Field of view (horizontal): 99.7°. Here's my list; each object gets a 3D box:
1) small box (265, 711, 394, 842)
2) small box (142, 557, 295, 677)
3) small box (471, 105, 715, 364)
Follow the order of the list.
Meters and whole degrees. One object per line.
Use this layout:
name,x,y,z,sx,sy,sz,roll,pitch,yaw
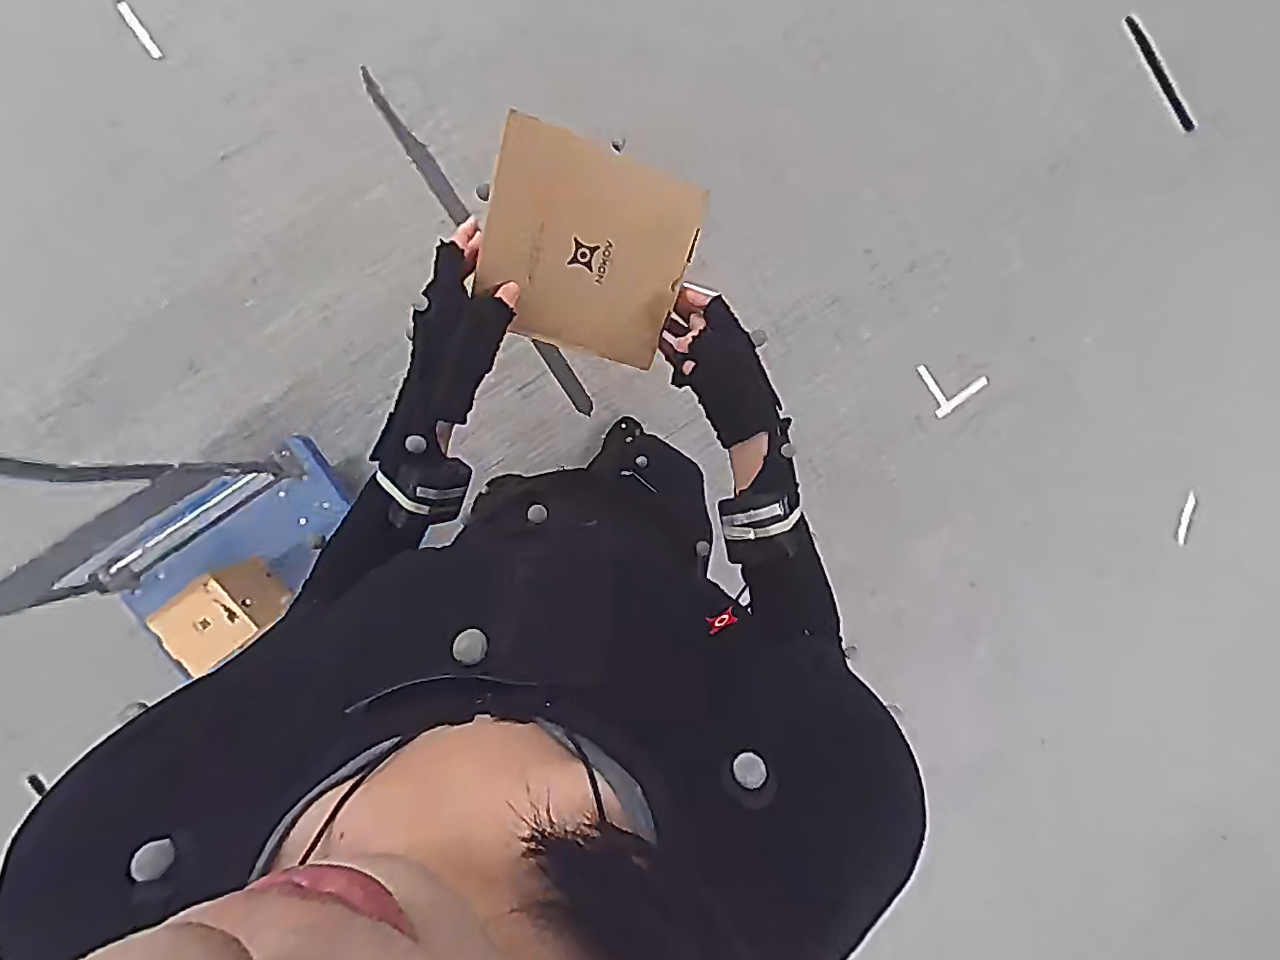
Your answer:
small box,-0.710,0.681,1.261,0.168,0.176,0.179,-24,94,-1
small box,-0.938,0.301,1.222,0.179,0.176,0.168,-38,96,1
small box,-0.055,-0.235,0.531,0.179,0.176,0.168,12,115,-17
